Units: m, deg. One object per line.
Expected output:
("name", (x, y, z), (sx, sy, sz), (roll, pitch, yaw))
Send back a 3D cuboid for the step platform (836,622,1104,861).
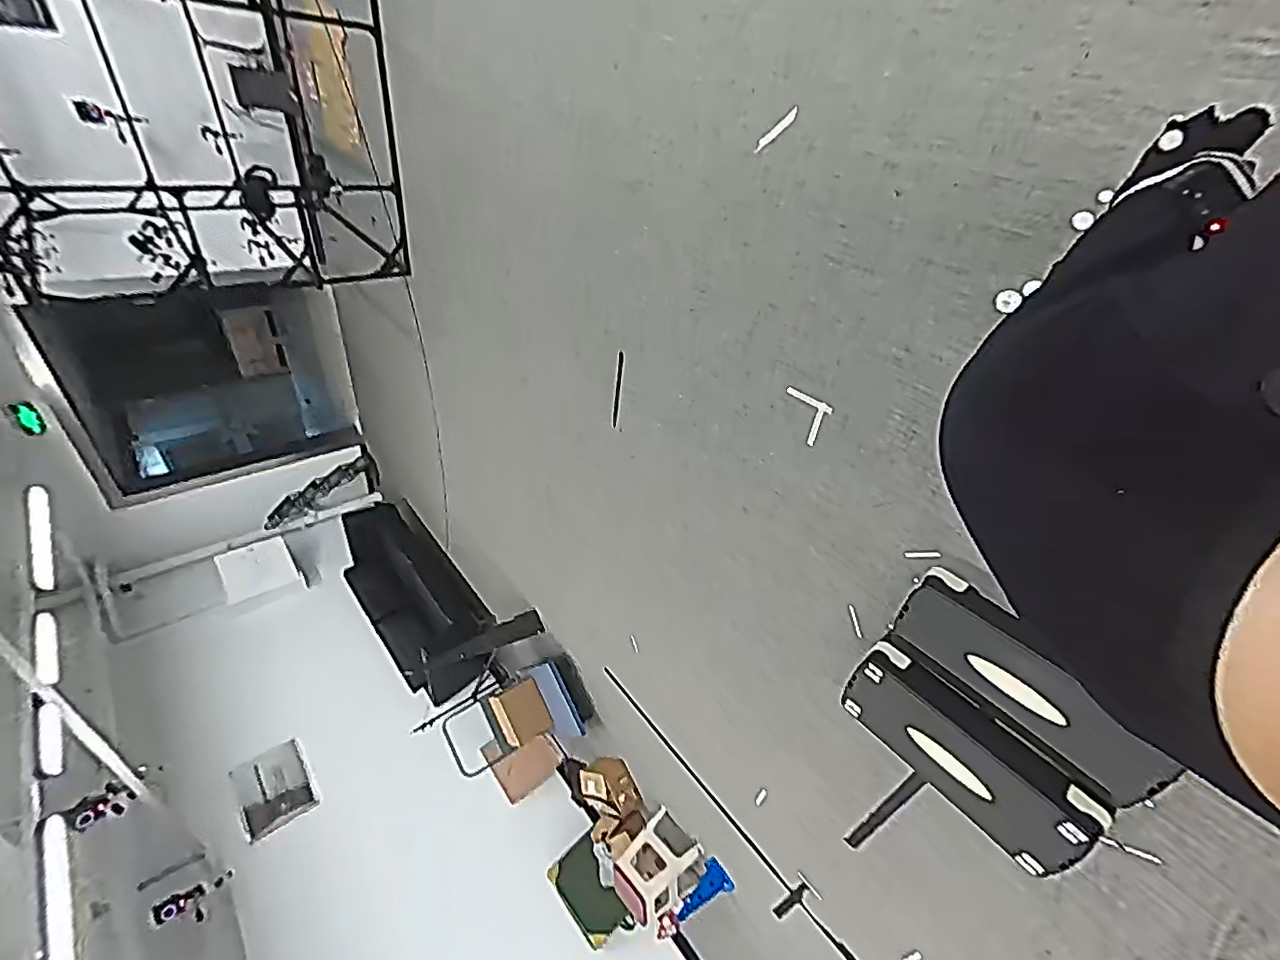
("step platform", (0.944, 0.764, 1.636), (0.684, 0.204, 0.286), (39, 136, 35))
